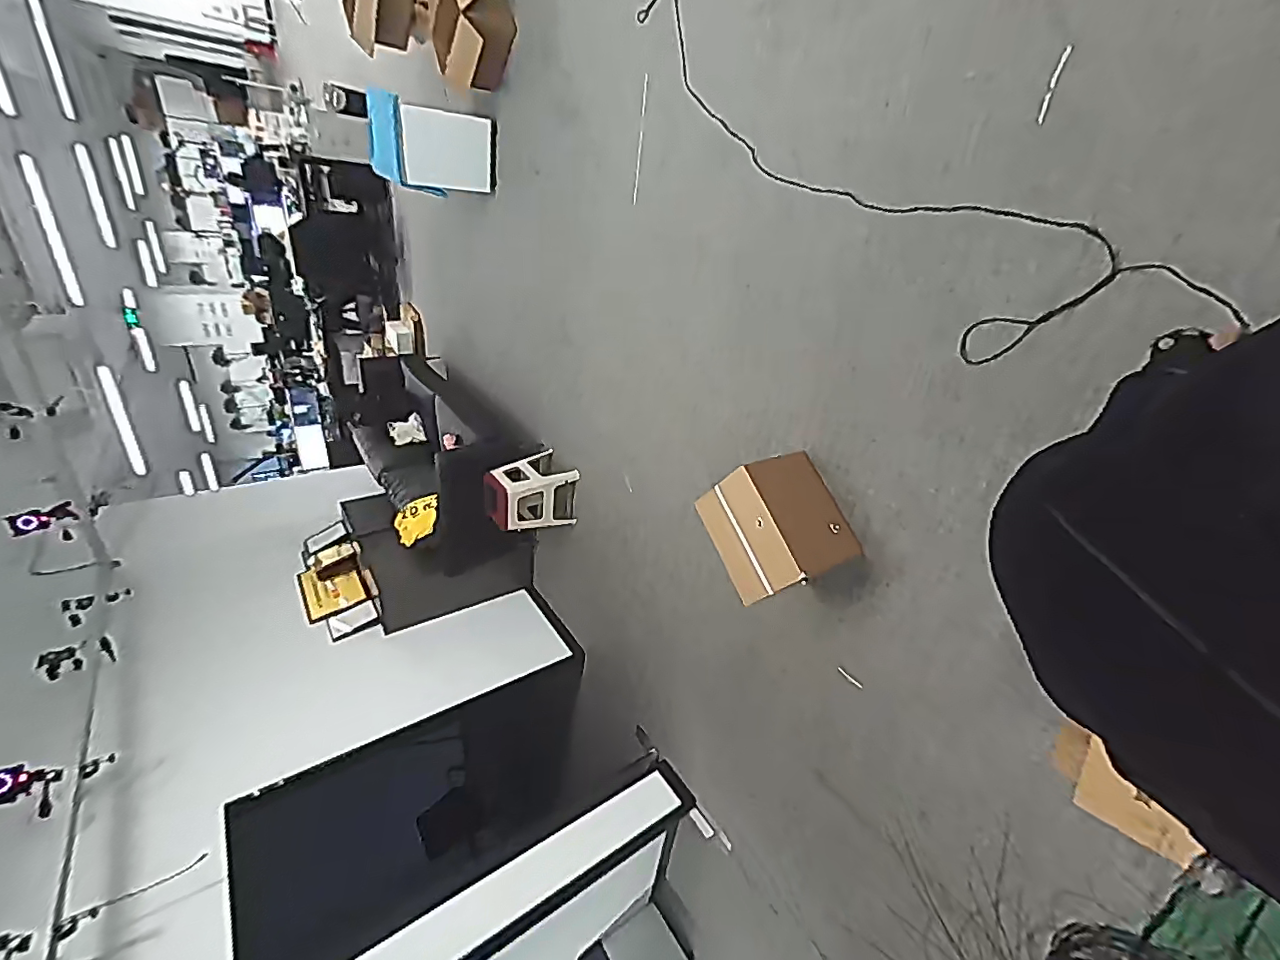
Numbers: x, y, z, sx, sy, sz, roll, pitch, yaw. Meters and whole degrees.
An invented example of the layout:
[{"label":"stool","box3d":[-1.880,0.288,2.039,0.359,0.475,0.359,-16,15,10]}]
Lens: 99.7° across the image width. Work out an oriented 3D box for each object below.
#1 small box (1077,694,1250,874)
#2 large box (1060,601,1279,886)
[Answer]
[{"label":"small box","box3d":[0.896,0.505,0.928,0.168,0.176,0.179,23,118,51]},{"label":"large box","box3d":[1.120,0.483,1.036,0.408,0.320,0.320,21,118,50]}]
